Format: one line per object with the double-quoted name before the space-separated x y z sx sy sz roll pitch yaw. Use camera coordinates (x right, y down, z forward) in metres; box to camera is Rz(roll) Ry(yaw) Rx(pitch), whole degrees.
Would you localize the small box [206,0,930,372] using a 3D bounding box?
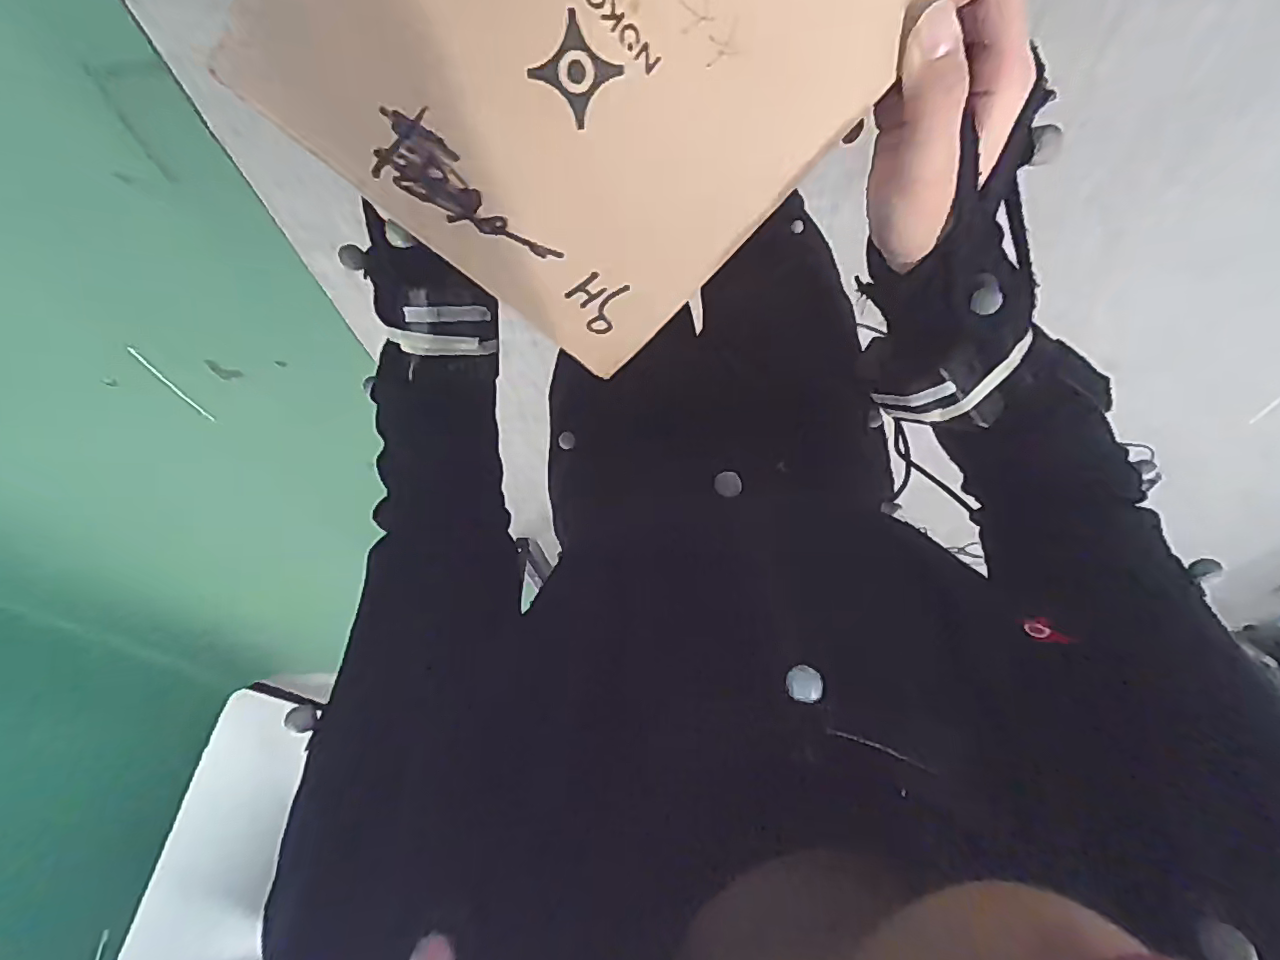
"small box" -0.028 -0.190 0.233 0.168 0.176 0.179 34 116 -31
